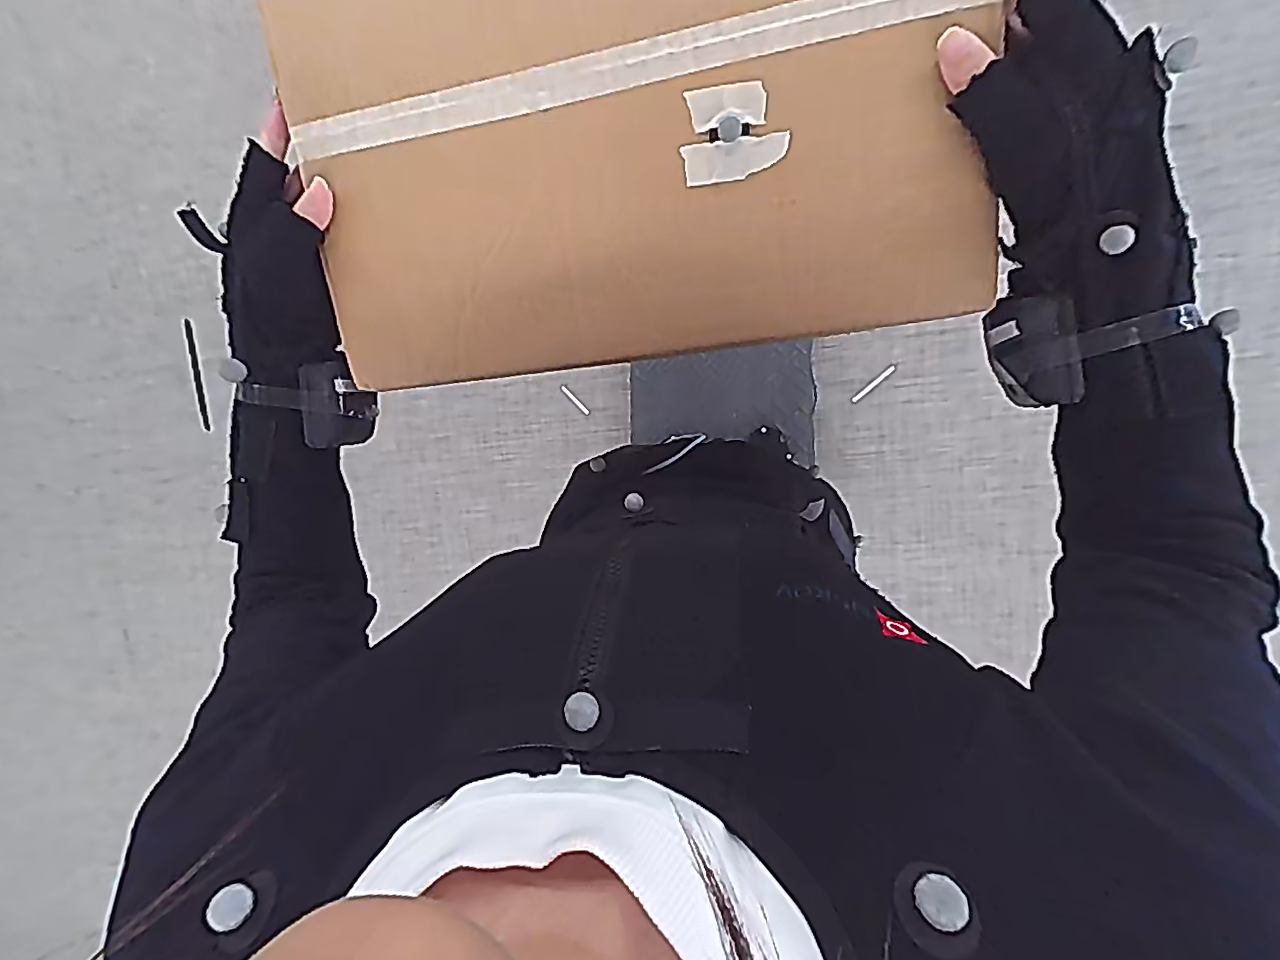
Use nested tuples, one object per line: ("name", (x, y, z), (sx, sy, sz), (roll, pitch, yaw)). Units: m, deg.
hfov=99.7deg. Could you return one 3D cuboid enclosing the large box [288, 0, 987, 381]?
("large box", (0.007, -0.273, 0.460), (0.408, 0.320, 0.320), (-6, 104, 10))
